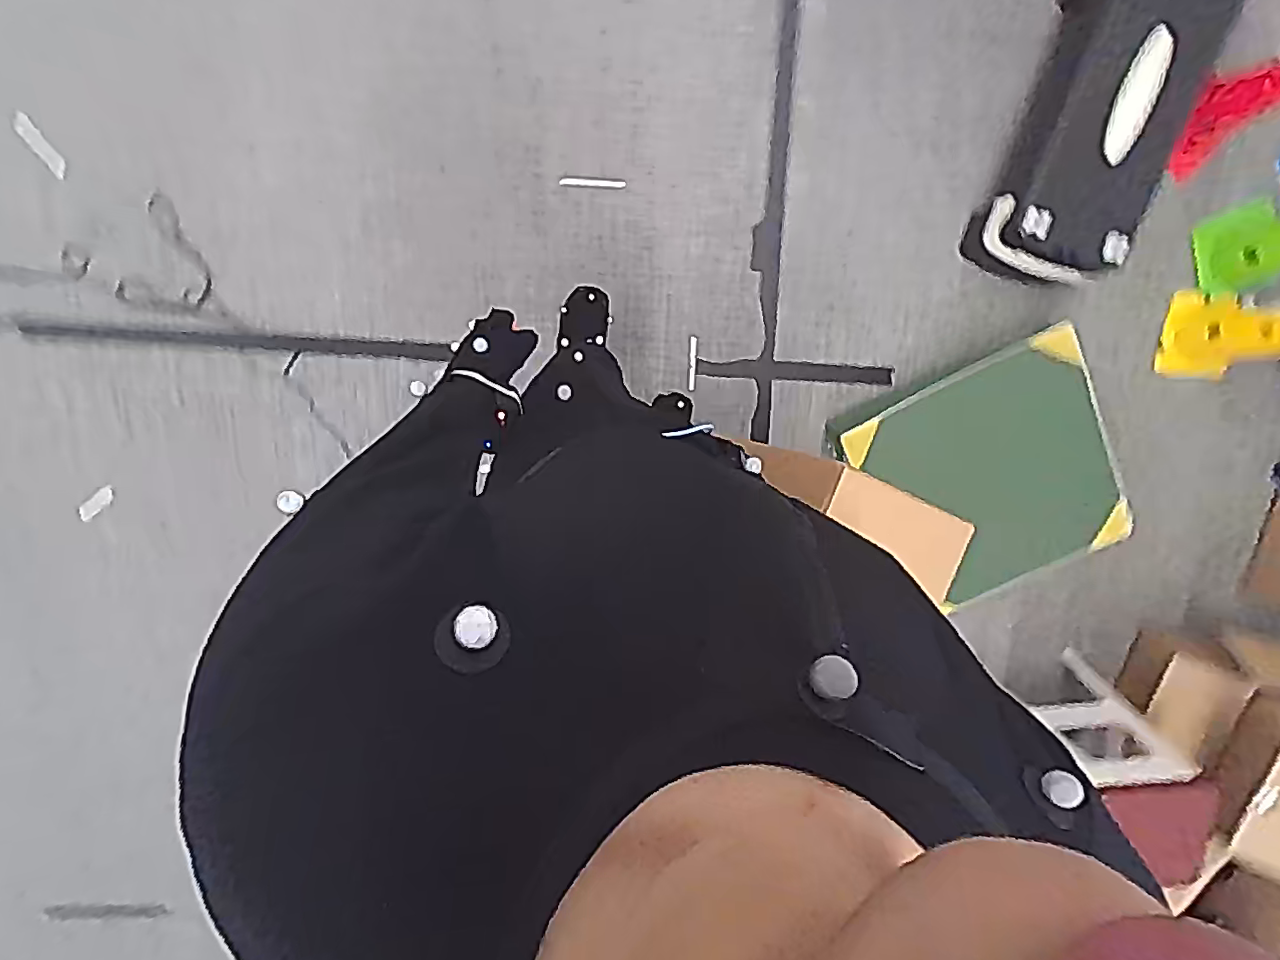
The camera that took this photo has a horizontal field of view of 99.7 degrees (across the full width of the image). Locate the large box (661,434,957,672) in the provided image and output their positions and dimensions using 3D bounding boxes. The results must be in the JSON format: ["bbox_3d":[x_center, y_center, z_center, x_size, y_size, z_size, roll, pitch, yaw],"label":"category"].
[{"bbox_3d":[0.297,0.119,1.043,0.320,0.408,0.320,20,93,-23],"label":"large box"}]
